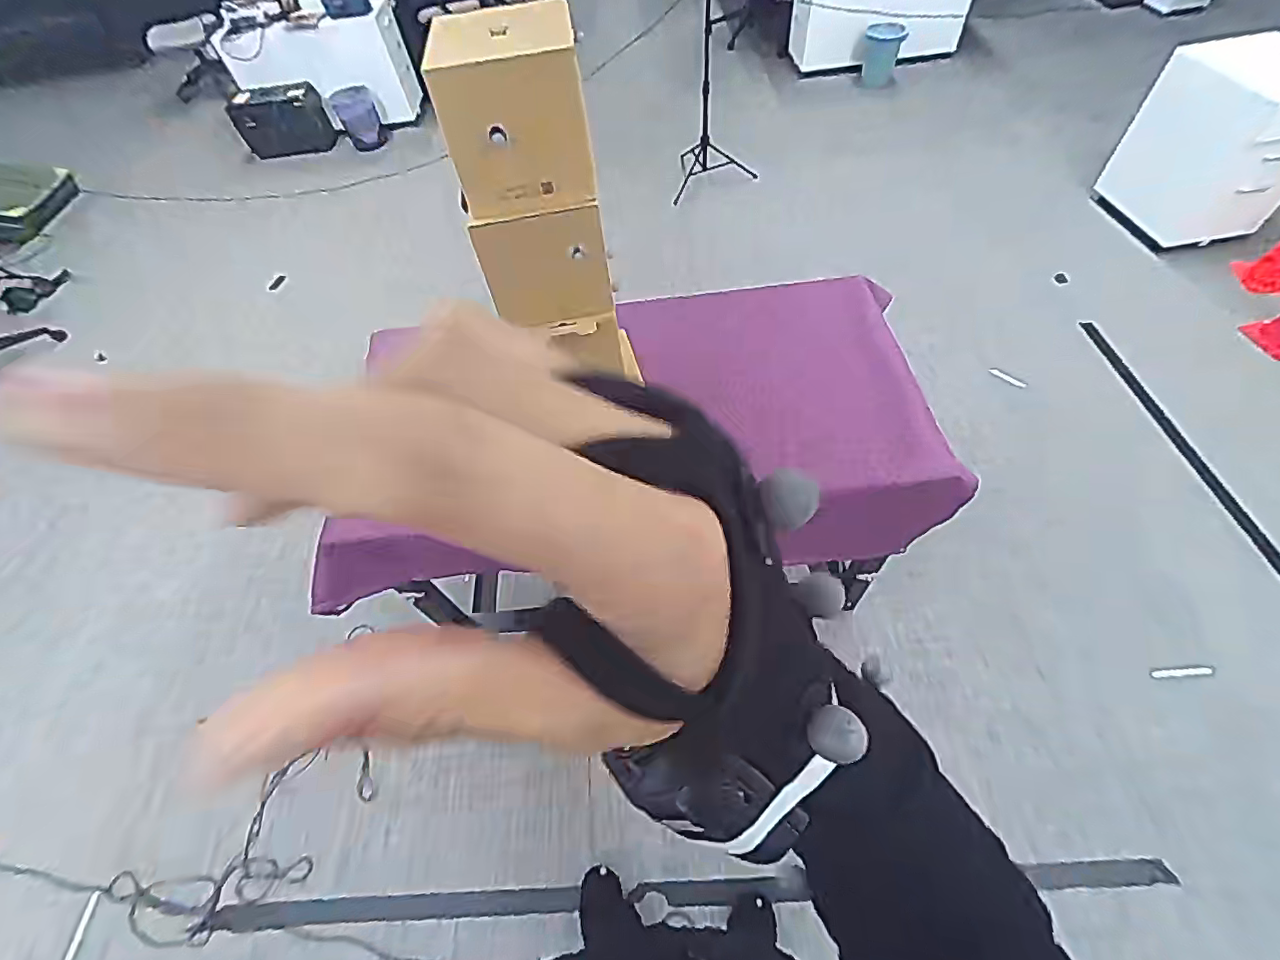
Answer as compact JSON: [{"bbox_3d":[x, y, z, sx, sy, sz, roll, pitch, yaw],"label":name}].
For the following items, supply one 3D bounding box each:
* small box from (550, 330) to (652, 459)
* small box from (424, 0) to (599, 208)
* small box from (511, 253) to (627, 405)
[{"bbox_3d":[-0.083,-0.162,1.062,0.179,0.176,0.168,-14,56,-4],"label":"small box"},{"bbox_3d":[-0.149,-0.462,0.677,0.168,0.176,0.179,-9,54,0],"label":"small box"},{"bbox_3d":[-0.119,-0.257,0.931,0.168,0.176,0.179,-10,55,0],"label":"small box"}]
